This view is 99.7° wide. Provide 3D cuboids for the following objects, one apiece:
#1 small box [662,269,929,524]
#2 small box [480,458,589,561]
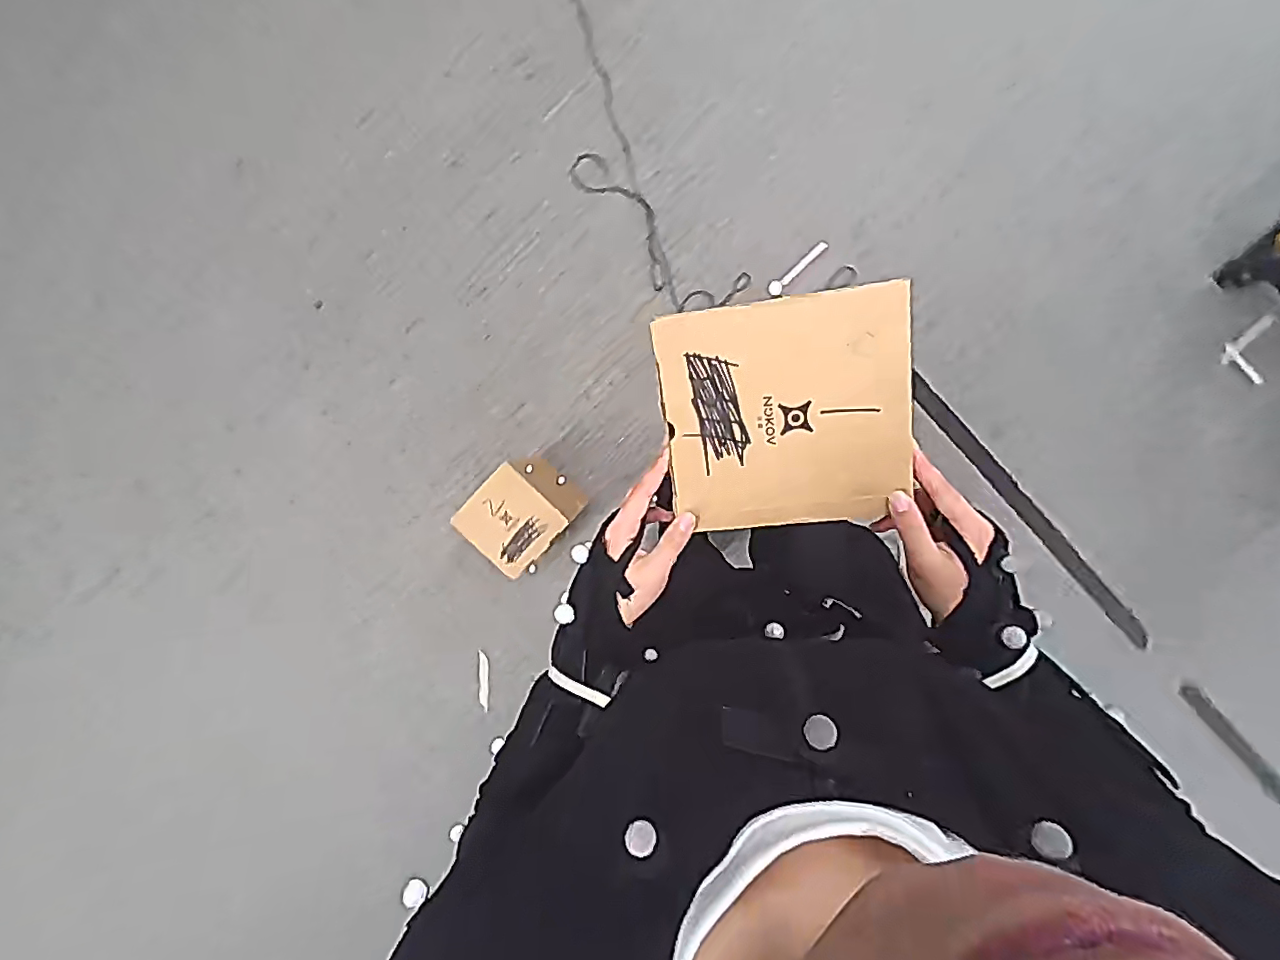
[{"bbox_3d":[0.121,-0.072,0.455,0.179,0.176,0.168,-5,105,9],"label":"small box"},{"bbox_3d":[-0.242,0.063,1.283,0.179,0.176,0.168,38,95,-3],"label":"small box"}]
